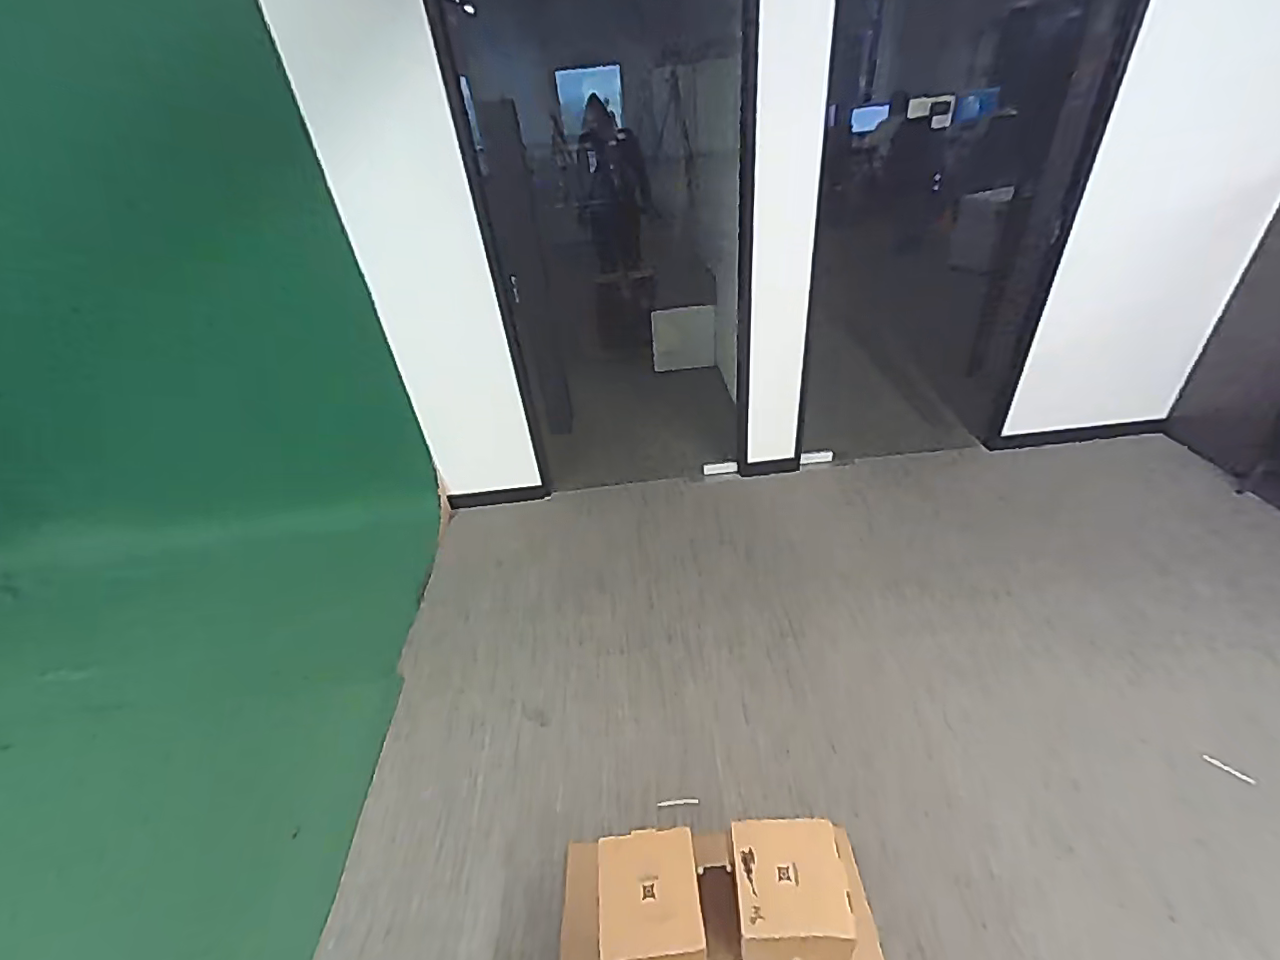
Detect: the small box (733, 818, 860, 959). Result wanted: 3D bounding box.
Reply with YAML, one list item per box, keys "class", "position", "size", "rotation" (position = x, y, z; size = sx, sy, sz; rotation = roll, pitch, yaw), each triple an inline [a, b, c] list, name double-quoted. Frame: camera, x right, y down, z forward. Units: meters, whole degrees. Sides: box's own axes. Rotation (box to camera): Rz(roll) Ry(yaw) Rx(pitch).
- class: "small box"
  position: [0.254, 0.705, 0.925]
  size: [0.179, 0.176, 0.168]
  rotation: [-4, 35, 5]

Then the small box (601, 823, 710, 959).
- class: "small box"
  position: [0.024, 0.731, 0.930]
  size: [0.168, 0.176, 0.179]
  rotation: [-8, 35, -1]
